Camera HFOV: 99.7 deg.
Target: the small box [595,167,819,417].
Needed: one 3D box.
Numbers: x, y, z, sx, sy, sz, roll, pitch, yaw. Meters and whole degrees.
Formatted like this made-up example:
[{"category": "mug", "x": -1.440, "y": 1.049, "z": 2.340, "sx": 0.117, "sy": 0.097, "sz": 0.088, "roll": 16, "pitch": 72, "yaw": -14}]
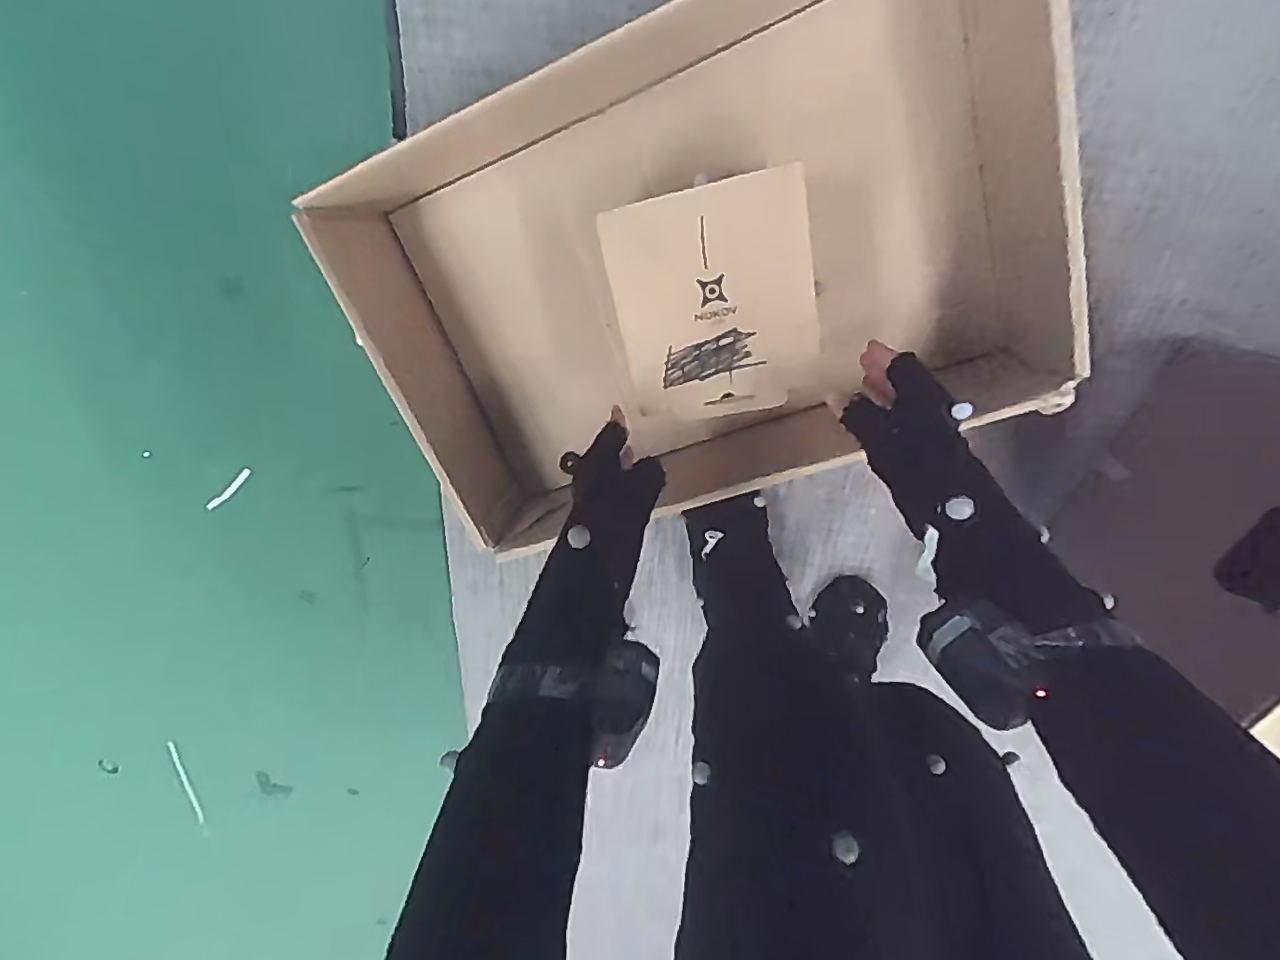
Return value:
[{"category": "small box", "x": 0.070, "y": -0.180, "z": 0.523, "sx": 0.168, "sy": 0.176, "sz": 0.179, "roll": -9, "pitch": 113, "yaw": 11}]
